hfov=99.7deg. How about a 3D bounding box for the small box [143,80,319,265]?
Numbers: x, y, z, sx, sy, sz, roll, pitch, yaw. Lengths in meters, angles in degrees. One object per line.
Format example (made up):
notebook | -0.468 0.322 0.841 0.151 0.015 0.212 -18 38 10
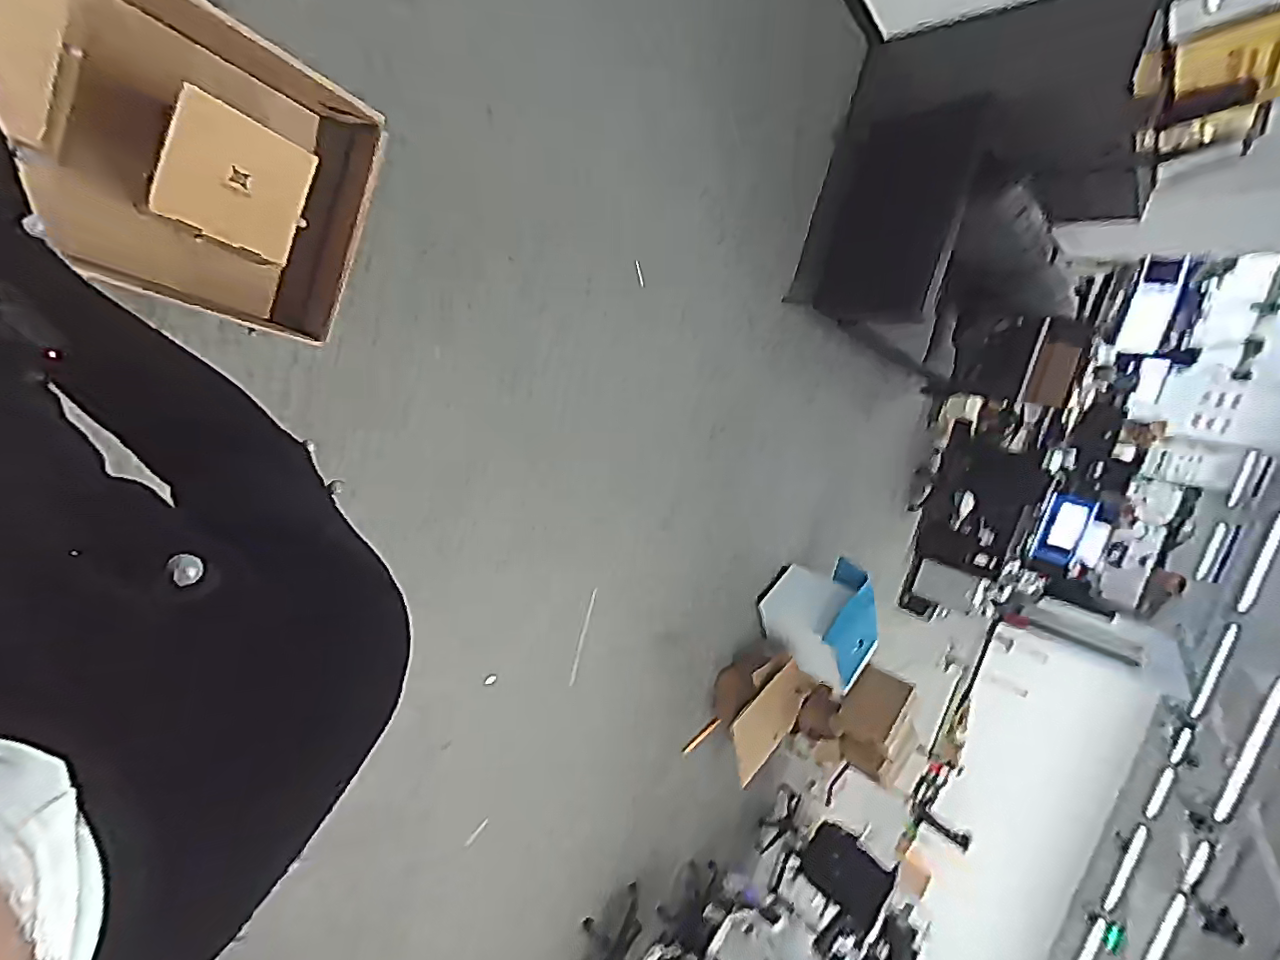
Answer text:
small box | -0.620 -0.448 0.816 0.168 0.176 0.179 16 96 -48
